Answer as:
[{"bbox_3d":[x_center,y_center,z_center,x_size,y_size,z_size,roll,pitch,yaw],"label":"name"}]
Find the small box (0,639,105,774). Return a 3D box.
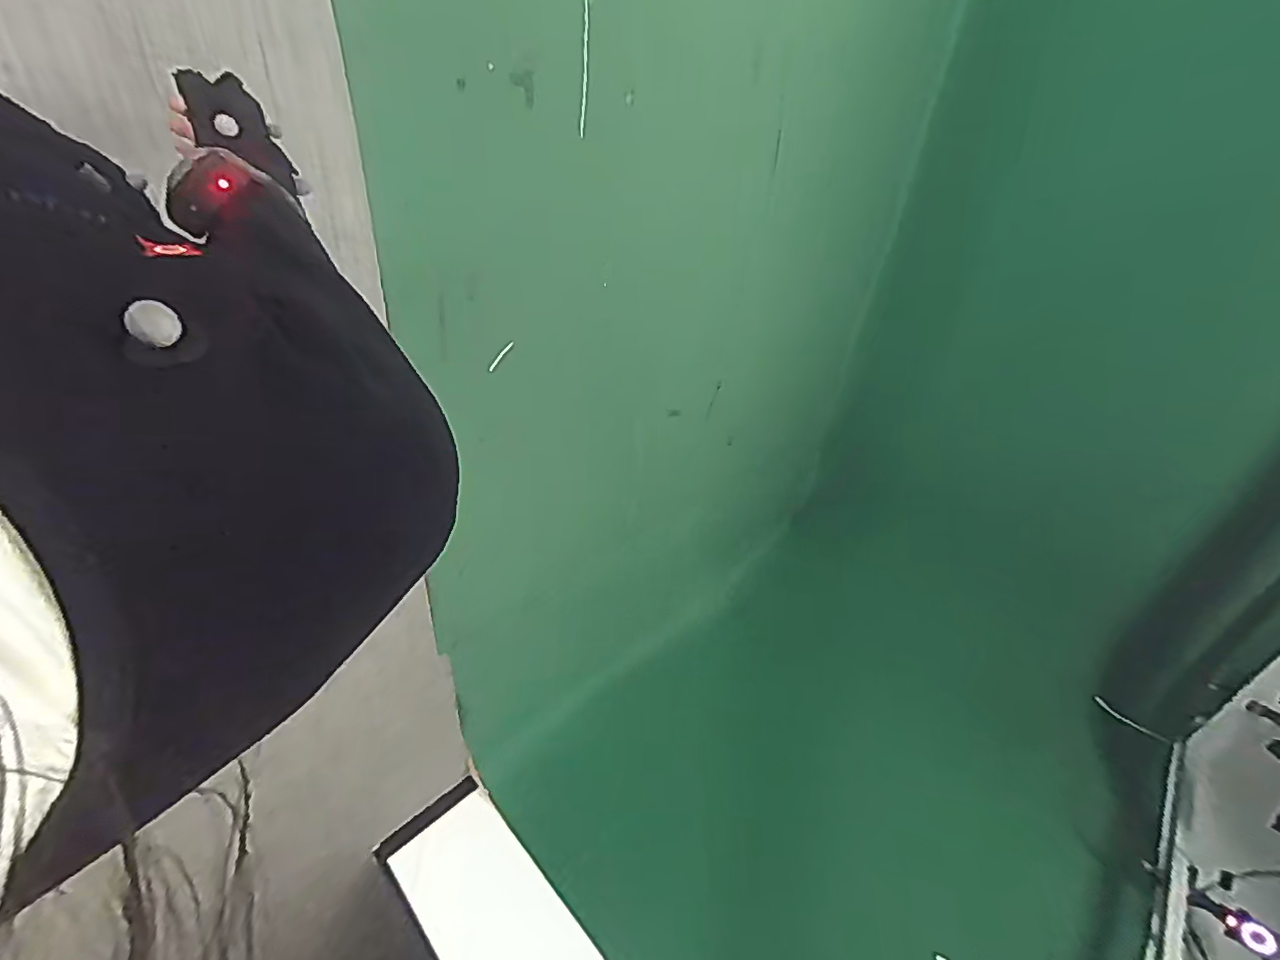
[{"bbox_3d":[-1.308,0.477,1.163,0.179,0.176,0.168,-22,132,-40],"label":"small box"}]
